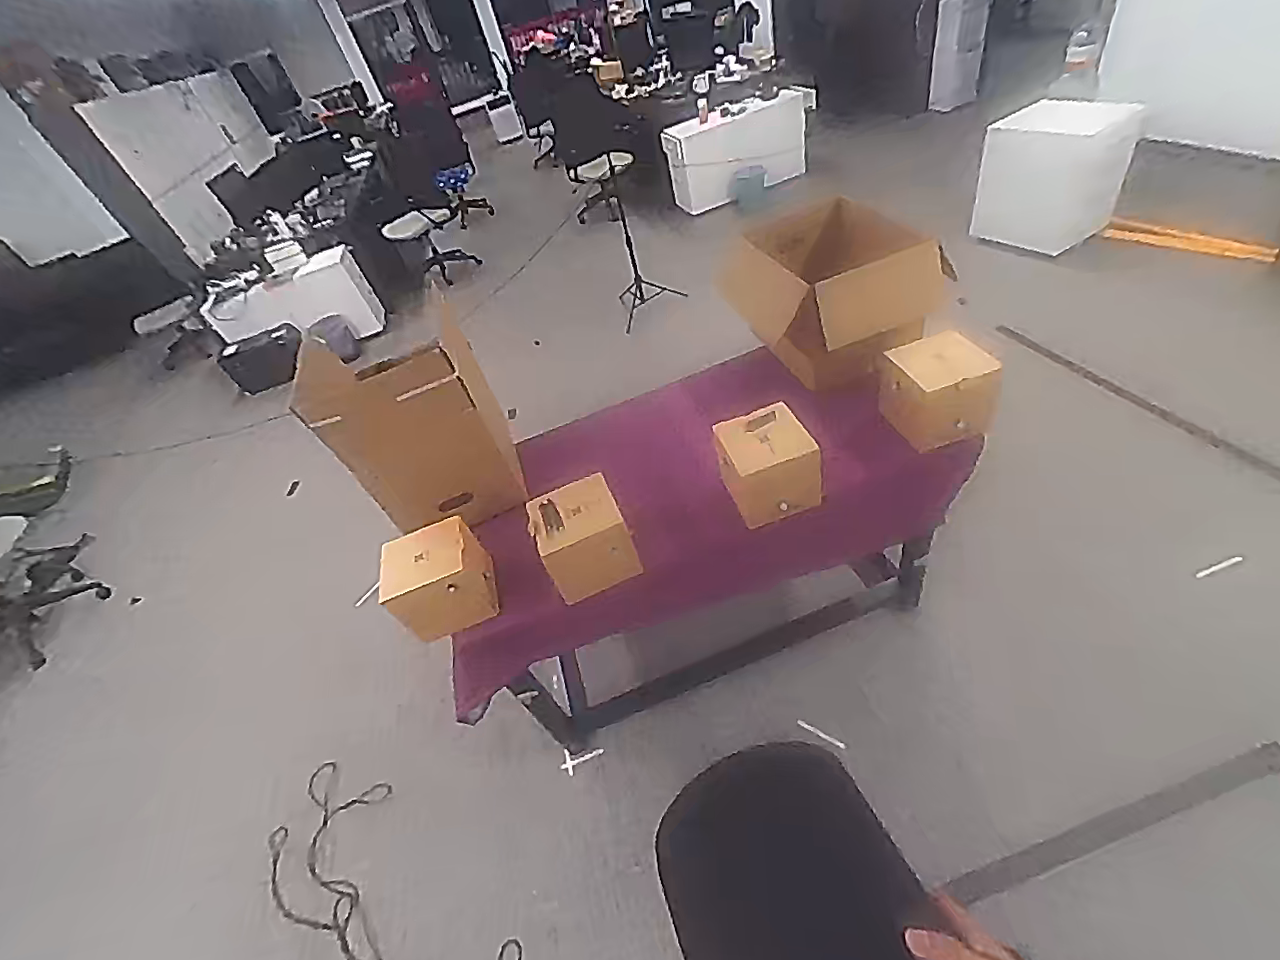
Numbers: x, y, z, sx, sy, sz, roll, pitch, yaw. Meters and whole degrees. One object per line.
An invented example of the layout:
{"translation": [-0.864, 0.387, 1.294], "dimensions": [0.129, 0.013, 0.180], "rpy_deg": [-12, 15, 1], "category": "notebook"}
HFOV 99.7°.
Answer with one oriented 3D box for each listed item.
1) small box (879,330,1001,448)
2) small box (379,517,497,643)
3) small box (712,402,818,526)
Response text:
{"translation": [0.647, -0.199, 1.194], "dimensions": [0.168, 0.176, 0.179], "rpy_deg": [-19, 42, 2], "category": "small box"}
{"translation": [-0.426, 0.216, 1.152], "dimensions": [0.179, 0.176, 0.168], "rpy_deg": [-22, 43, -5], "category": "small box"}
{"translation": [0.267, -0.032, 1.161], "dimensions": [0.168, 0.176, 0.179], "rpy_deg": [-20, 43, 0], "category": "small box"}
